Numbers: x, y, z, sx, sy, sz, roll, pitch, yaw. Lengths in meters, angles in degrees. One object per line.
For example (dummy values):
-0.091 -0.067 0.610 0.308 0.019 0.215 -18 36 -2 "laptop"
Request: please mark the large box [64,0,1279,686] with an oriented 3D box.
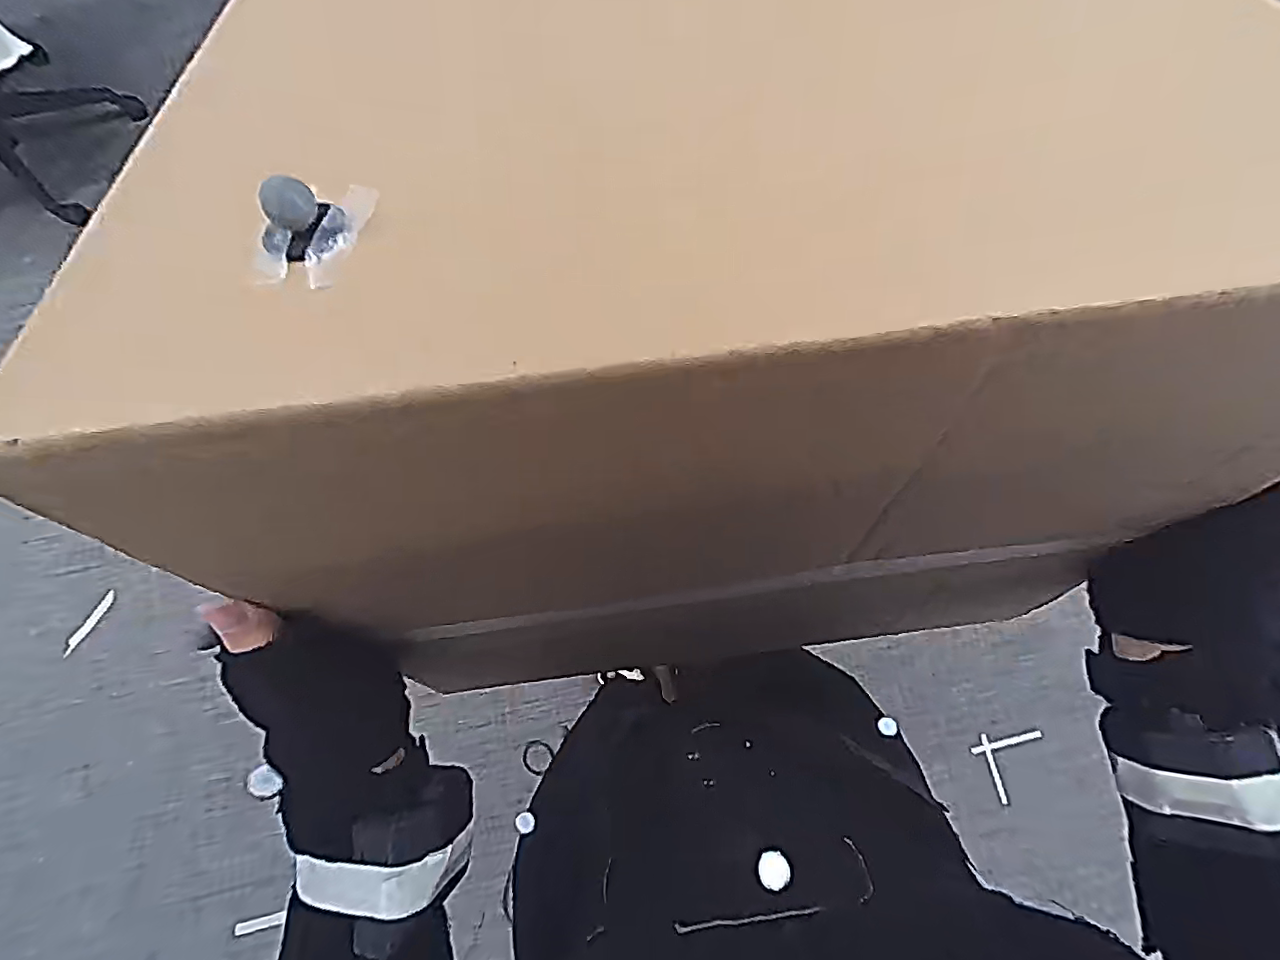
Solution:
0.040 -0.084 0.337 0.408 0.320 0.320 -7 60 -1 "large box"
